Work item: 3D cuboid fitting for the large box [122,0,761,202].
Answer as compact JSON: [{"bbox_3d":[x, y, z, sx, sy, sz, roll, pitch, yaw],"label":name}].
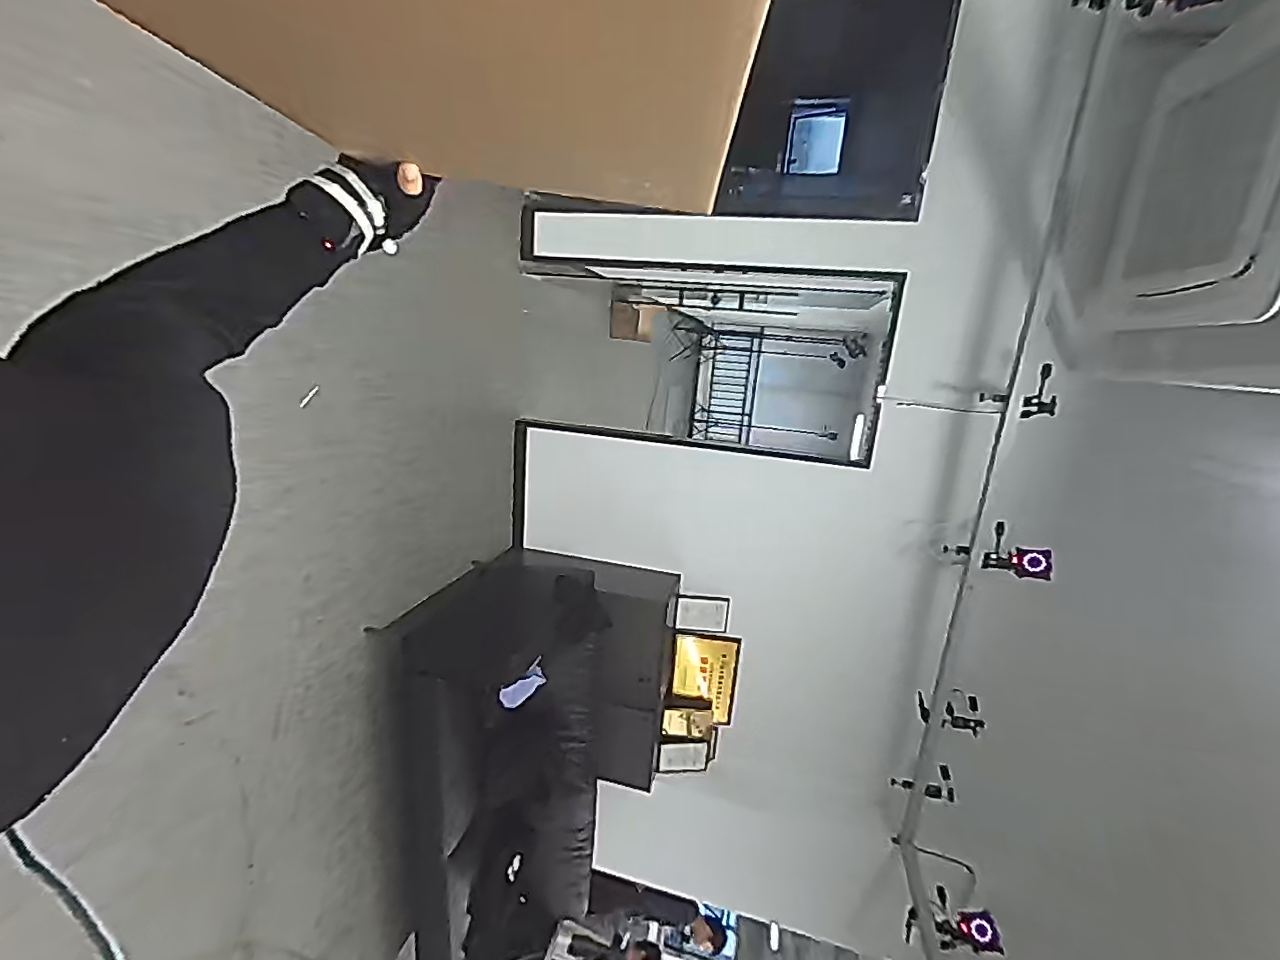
[{"bbox_3d":[-0.084,-0.364,0.257,0.408,0.320,0.320,-85,-177,-76],"label":"large box"}]
